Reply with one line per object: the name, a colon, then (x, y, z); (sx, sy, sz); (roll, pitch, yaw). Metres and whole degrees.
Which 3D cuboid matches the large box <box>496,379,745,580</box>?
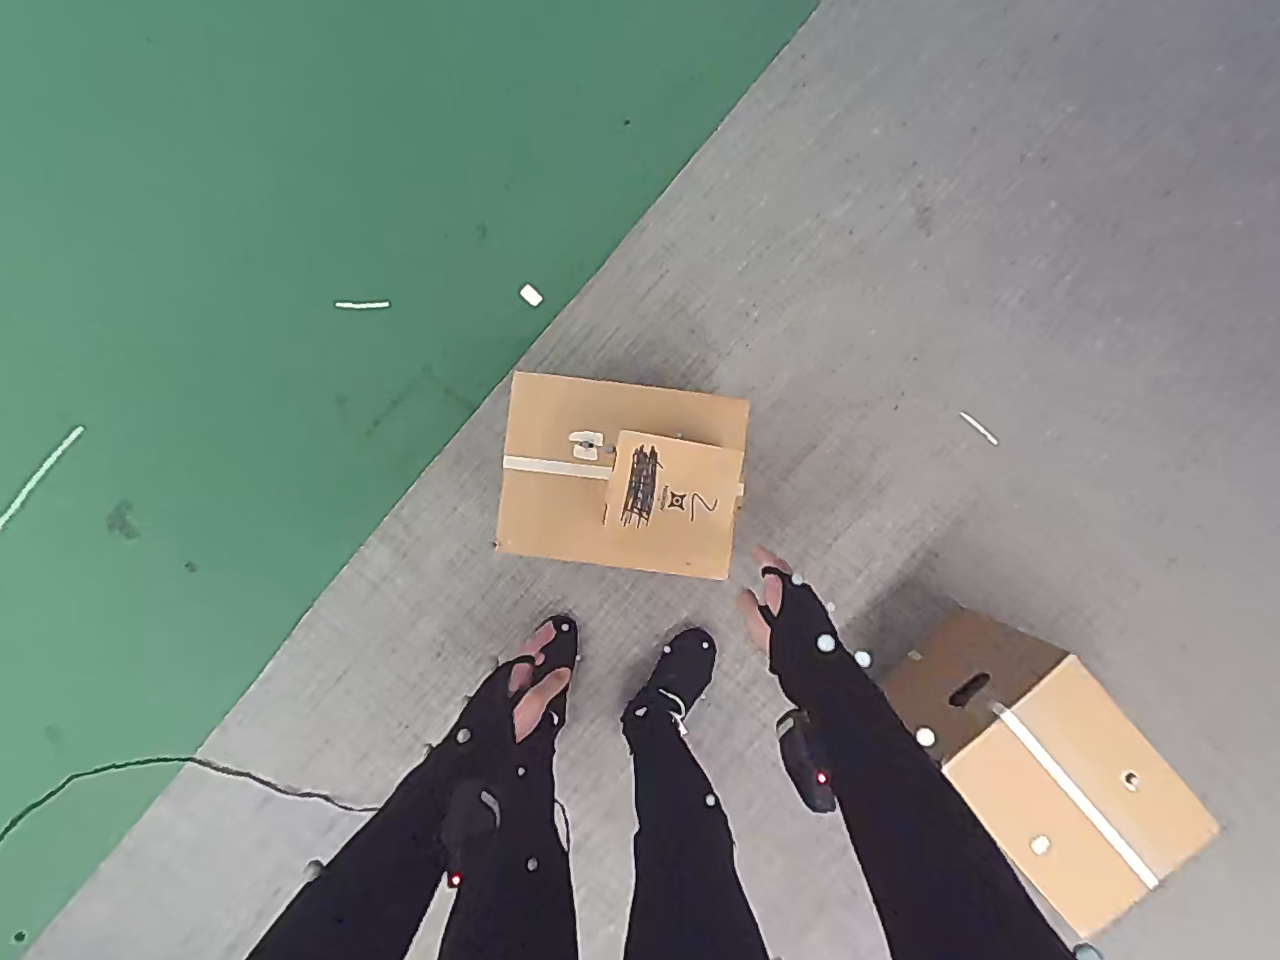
large box: (-0.030, -0.004, 1.062); (0.408, 0.320, 0.320); (7, 90, 1)
